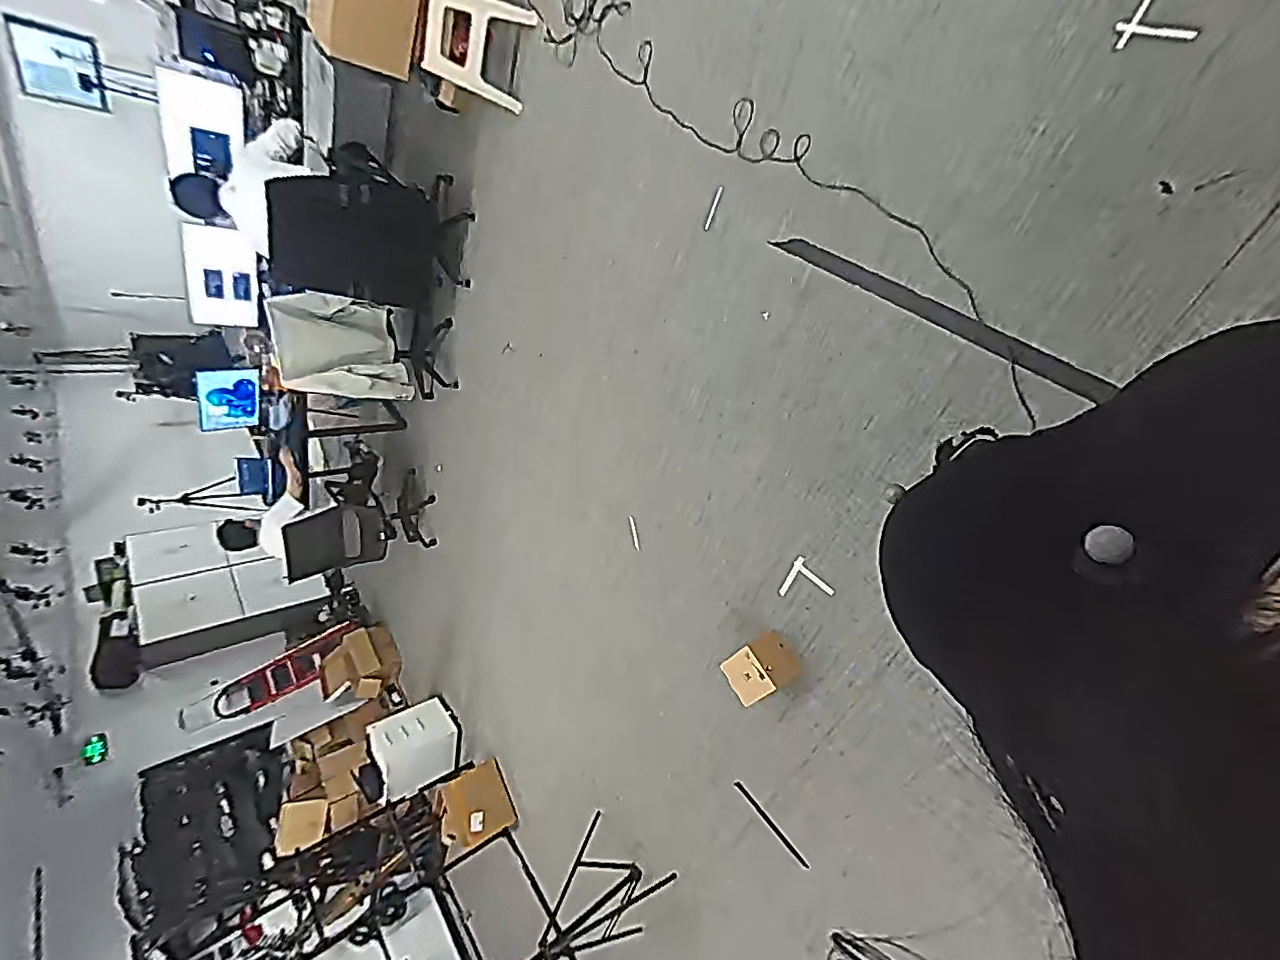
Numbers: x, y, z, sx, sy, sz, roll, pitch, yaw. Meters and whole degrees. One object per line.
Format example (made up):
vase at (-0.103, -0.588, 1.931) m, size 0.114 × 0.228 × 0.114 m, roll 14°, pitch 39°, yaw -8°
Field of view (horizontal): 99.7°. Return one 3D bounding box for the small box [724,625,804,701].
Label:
small box at (0.435, 0.637, 1.893) m, size 0.168 × 0.176 × 0.179 m, roll 56°, pitch 135°, yaw 22°
